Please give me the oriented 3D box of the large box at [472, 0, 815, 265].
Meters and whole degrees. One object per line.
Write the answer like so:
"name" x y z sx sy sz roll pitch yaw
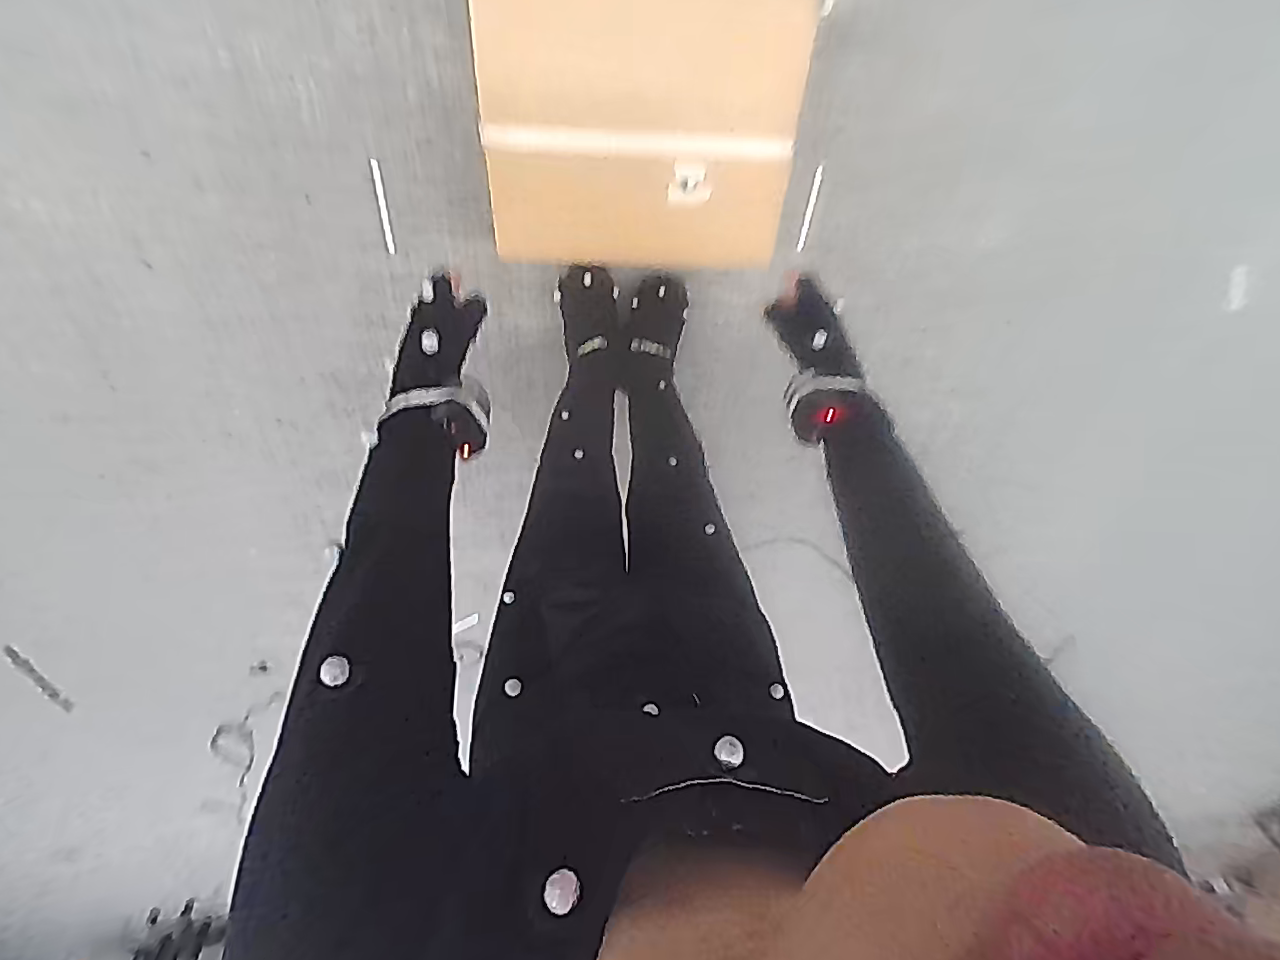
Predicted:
"large box" -0.010 -0.533 0.824 0.408 0.320 0.320 -1 130 -6
